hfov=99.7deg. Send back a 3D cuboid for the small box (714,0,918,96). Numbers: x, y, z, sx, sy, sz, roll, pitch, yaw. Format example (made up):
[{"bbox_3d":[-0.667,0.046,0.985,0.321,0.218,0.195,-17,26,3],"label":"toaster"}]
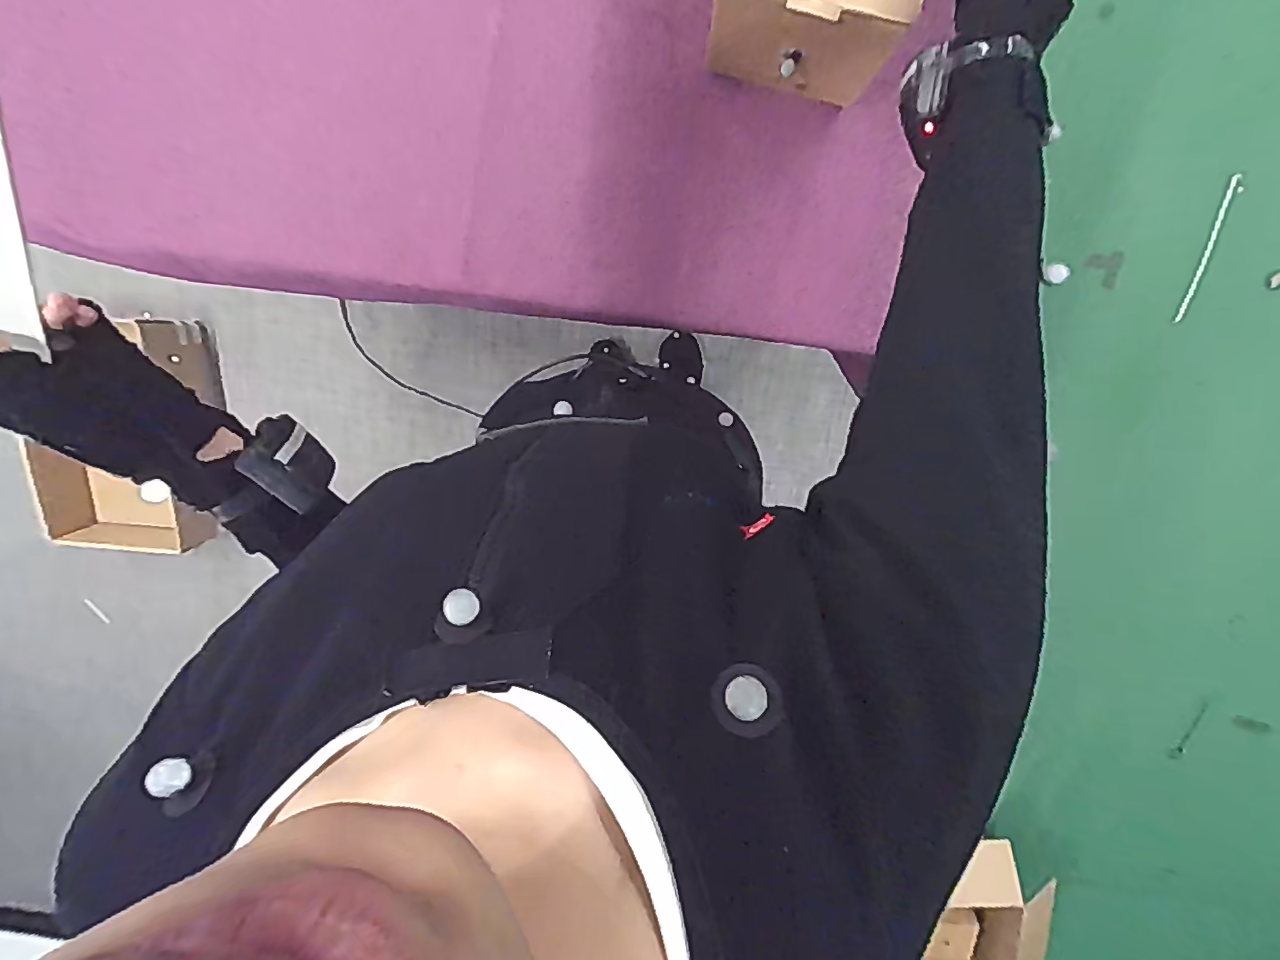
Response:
[{"bbox_3d":[0.168,-0.486,0.488,0.168,0.176,0.179,15,108,0],"label":"small box"}]
